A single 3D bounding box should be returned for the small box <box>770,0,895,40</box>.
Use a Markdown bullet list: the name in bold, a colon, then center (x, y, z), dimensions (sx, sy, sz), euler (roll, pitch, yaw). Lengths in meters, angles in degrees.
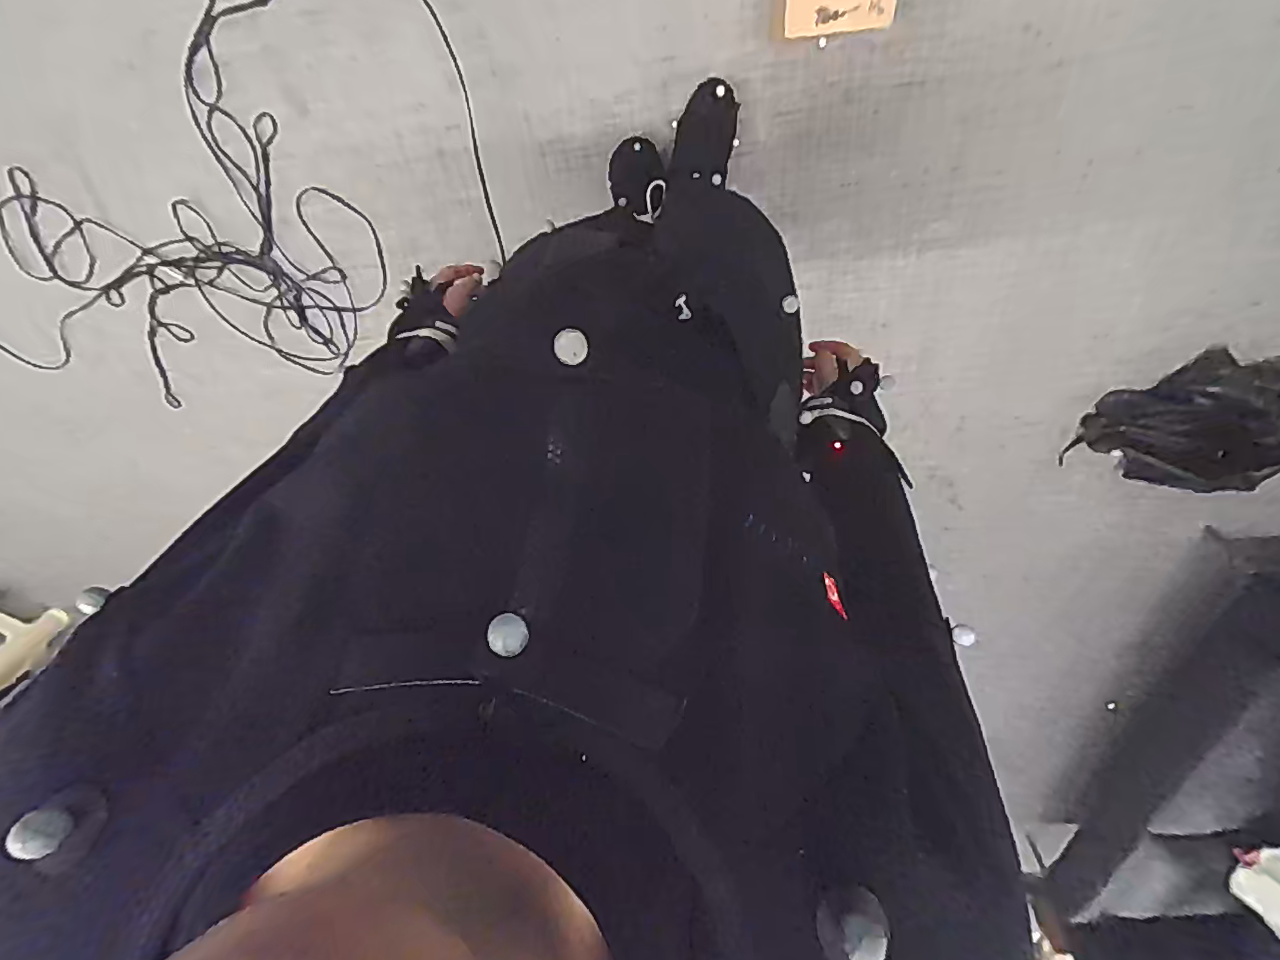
- **small box**: center (0.300, -0.813, 0.843), dimensions (0.168, 0.176, 0.179), euler (-2, 126, 6)
